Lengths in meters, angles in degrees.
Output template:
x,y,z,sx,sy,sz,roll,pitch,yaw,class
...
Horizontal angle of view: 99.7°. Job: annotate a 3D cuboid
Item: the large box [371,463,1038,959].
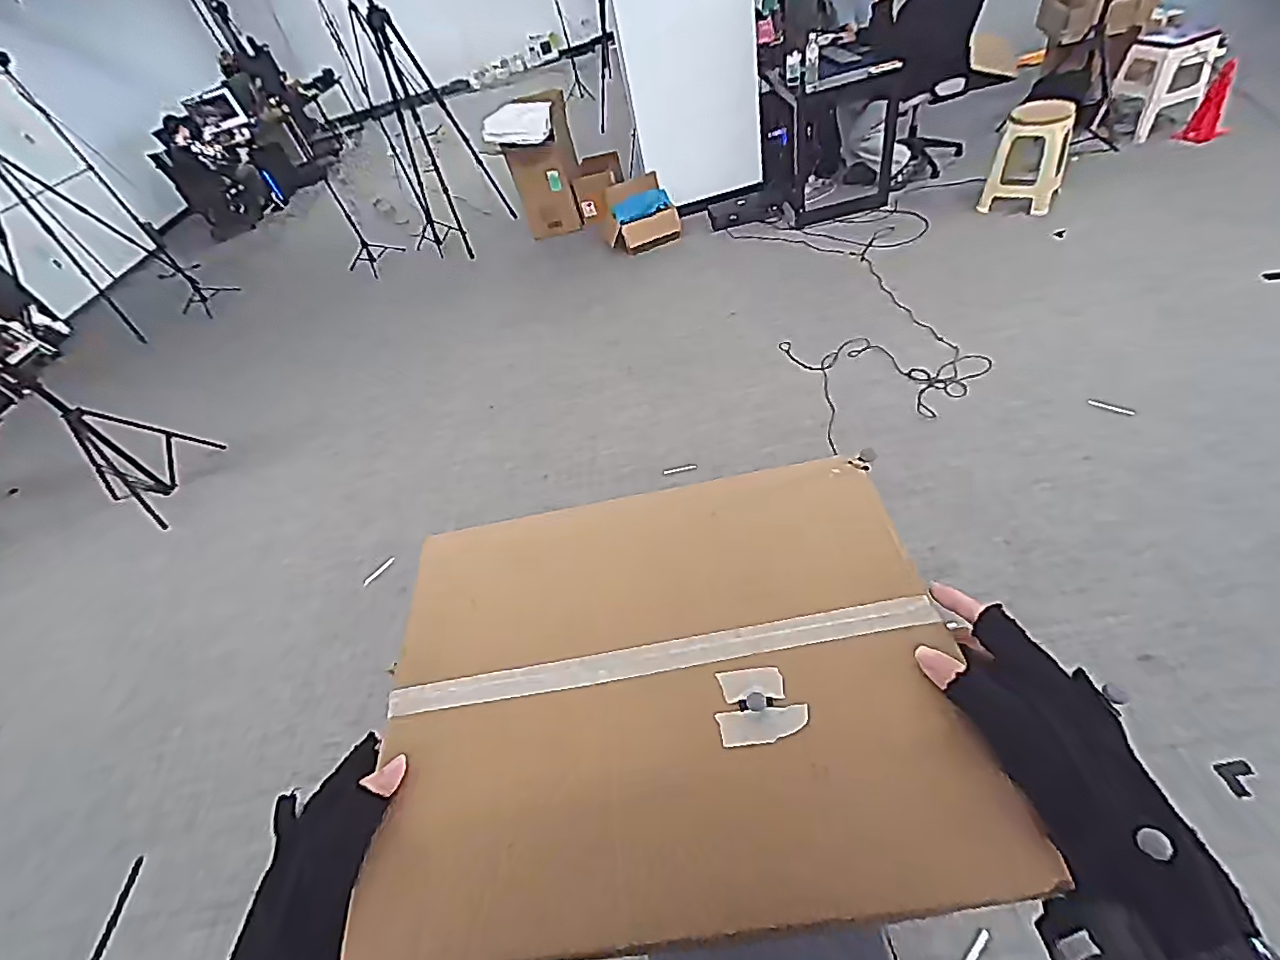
x,y,z,sx,sy,sz,roll,pitch,yaw,class
0.040,0.232,0.520,0.408,0.320,0.320,-11,49,4,large box
